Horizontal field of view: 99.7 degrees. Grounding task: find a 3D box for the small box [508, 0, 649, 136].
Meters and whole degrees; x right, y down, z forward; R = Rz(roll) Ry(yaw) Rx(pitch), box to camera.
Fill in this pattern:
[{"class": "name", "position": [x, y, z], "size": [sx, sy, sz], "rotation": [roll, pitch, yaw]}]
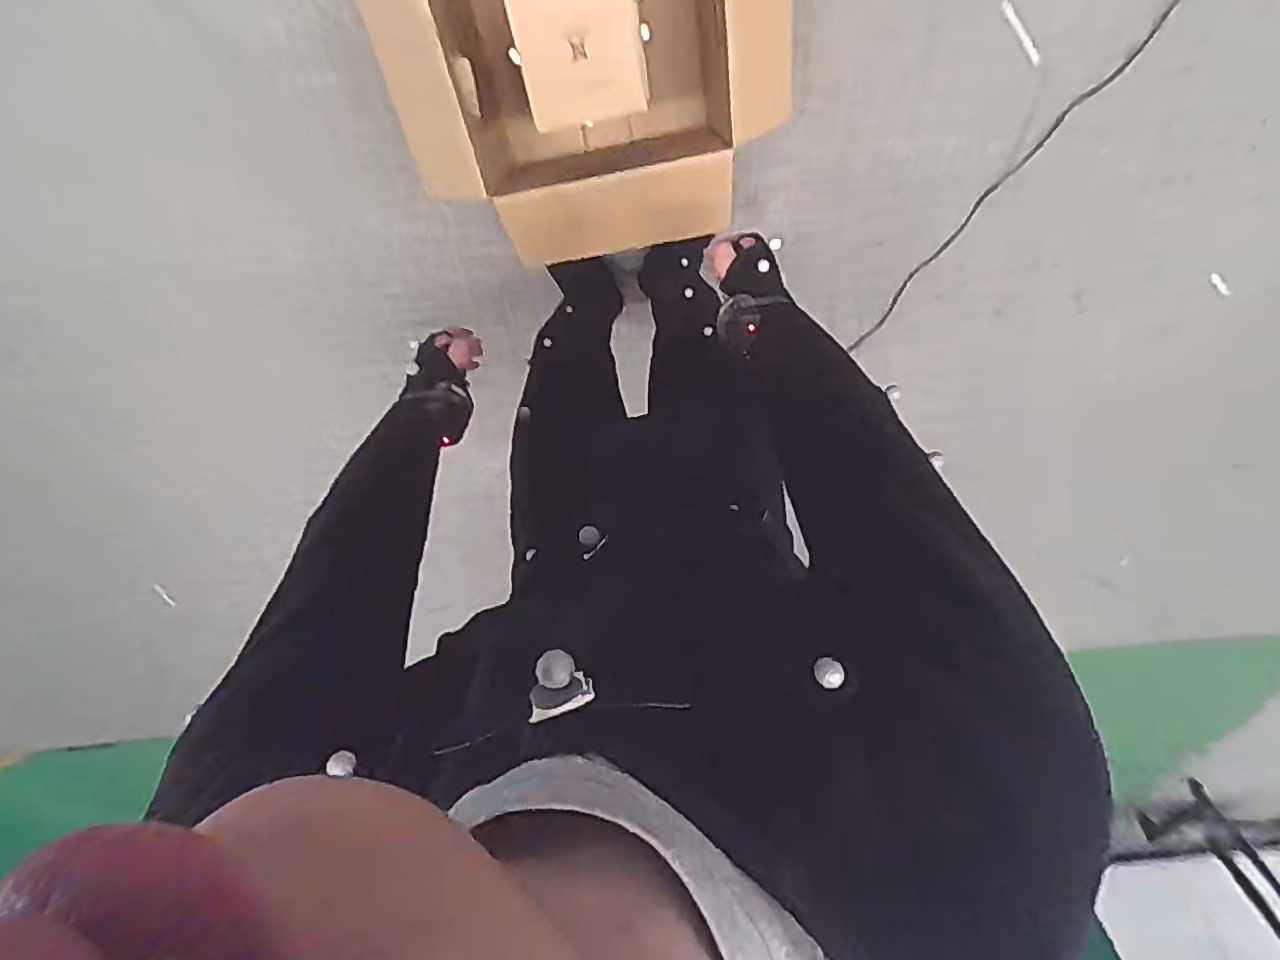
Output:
[{"class": "small box", "position": [-0.084, -0.630, 0.791], "size": [0.168, 0.176, 0.179], "rotation": [-9, 130, 4]}]
